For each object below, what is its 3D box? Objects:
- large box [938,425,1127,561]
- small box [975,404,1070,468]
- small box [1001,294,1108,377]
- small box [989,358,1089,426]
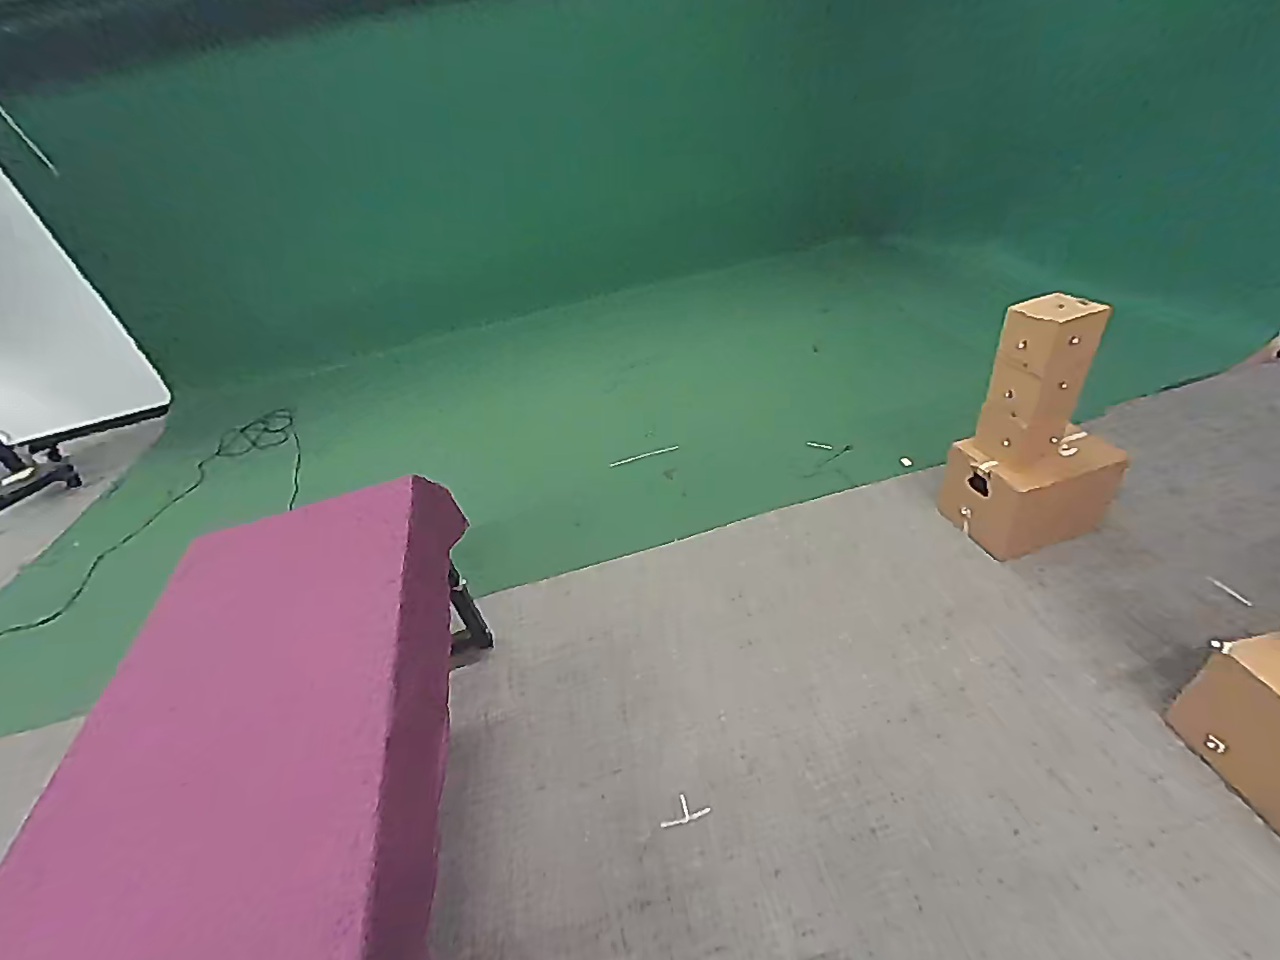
[{"bbox_3d":[1.346,0.028,1.898,0.408,0.320,0.320,-16,37,-7],"label":"large box"},{"bbox_3d":[1.235,-0.156,1.760,0.168,0.176,0.179,-17,35,-7],"label":"small box"},{"bbox_3d":[1.187,-0.416,1.566,0.179,0.176,0.168,-18,37,-8],"label":"small box"},{"bbox_3d":[1.214,-0.287,1.664,0.179,0.176,0.168,-19,37,-11],"label":"small box"}]
